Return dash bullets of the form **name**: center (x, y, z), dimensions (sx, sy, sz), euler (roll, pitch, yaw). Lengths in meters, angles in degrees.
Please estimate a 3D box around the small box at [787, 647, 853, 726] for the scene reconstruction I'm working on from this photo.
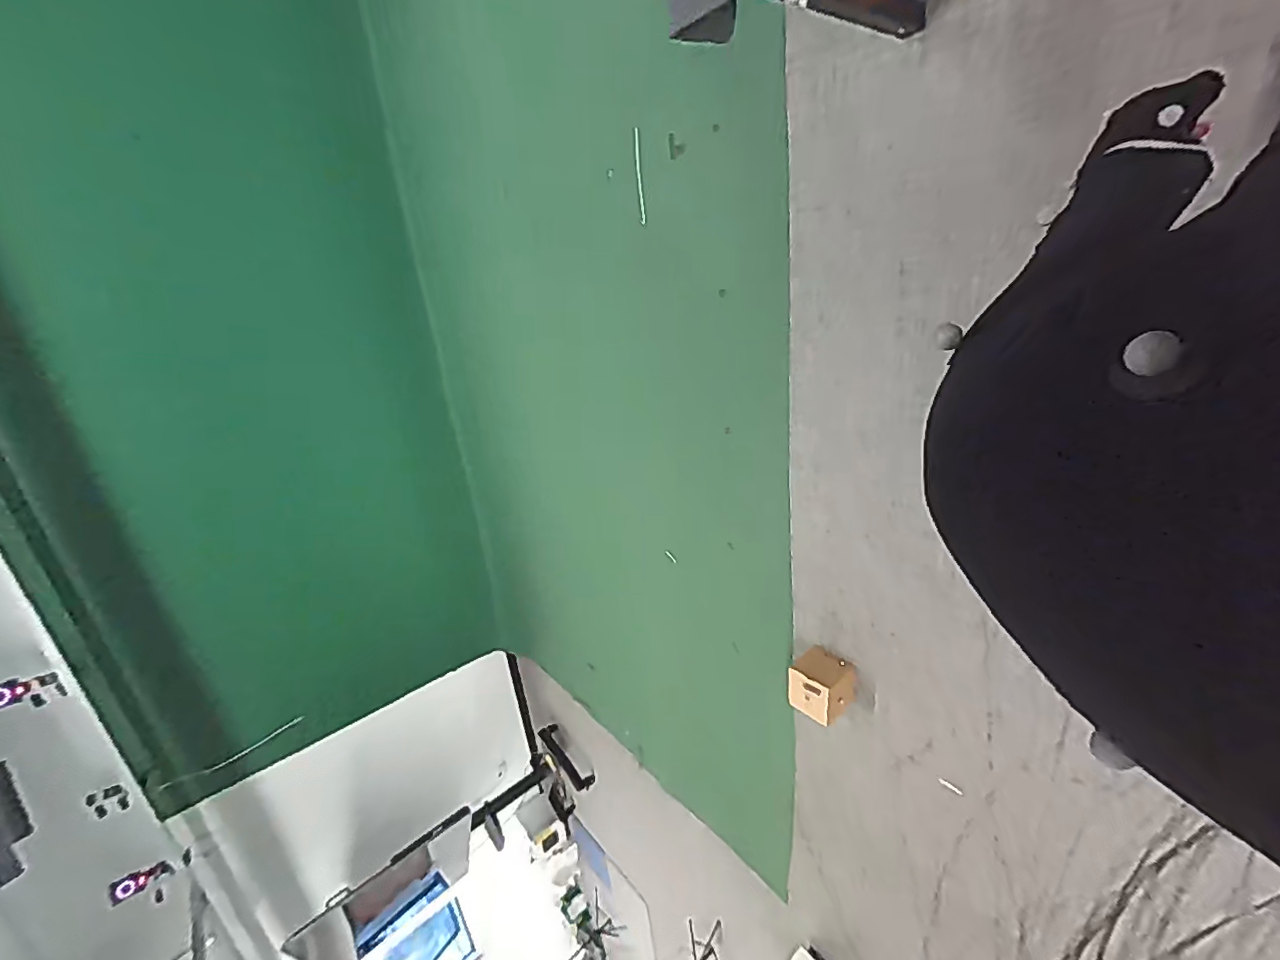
- **small box**: center (0.657, 0.744, 1.970), dimensions (0.168, 0.176, 0.179), euler (20, 124, 47)
